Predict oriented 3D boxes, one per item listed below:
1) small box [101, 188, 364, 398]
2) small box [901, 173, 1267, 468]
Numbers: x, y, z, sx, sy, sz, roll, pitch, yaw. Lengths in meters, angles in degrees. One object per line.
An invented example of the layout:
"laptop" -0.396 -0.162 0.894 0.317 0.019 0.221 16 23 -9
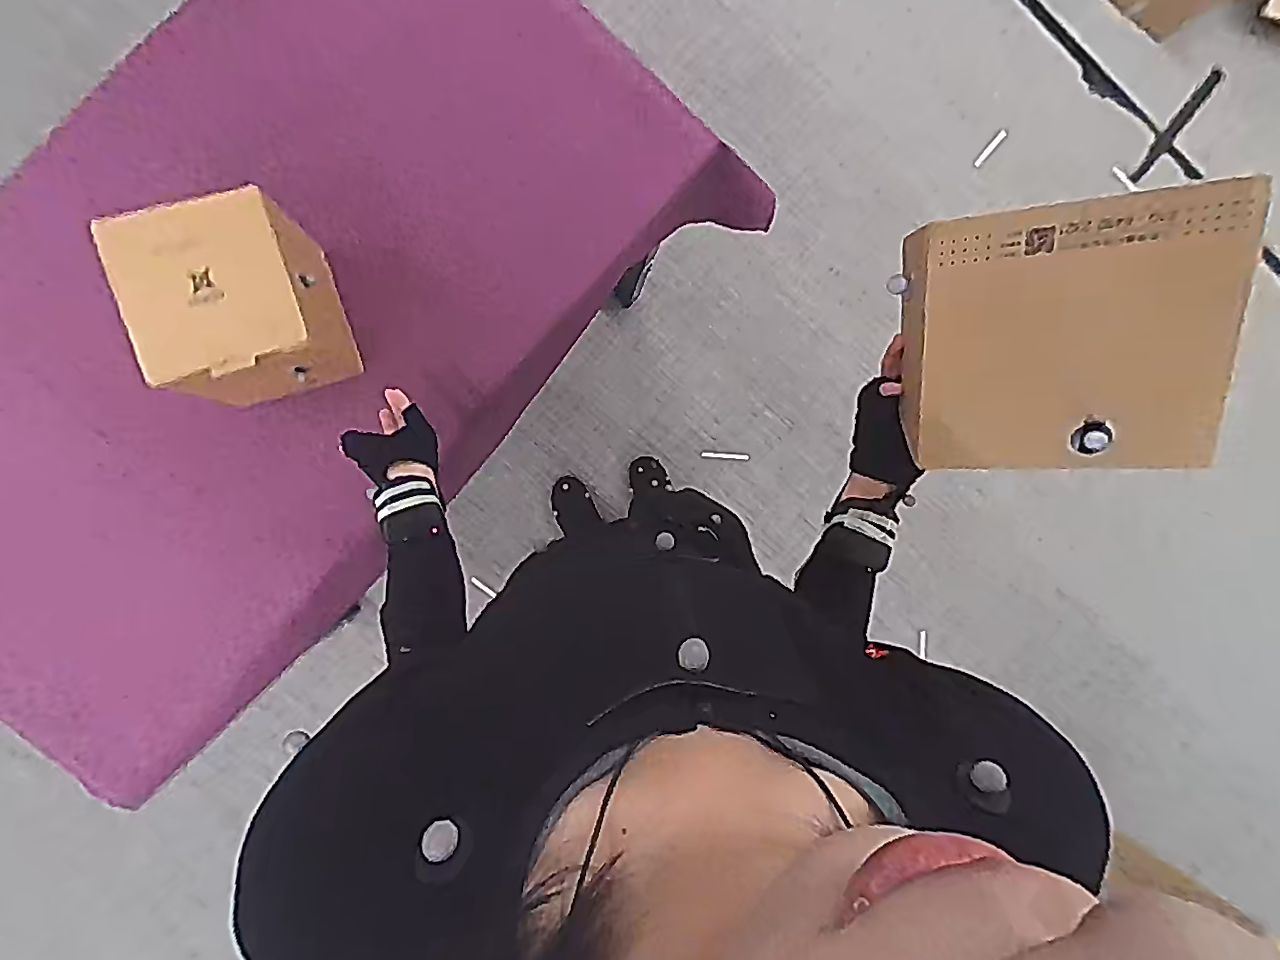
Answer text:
"small box" -0.463 -0.205 0.649 0.168 0.176 0.179 -19 92 -8
"small box" 0.296 -0.116 0.404 0.168 0.179 0.176 1 110 22
